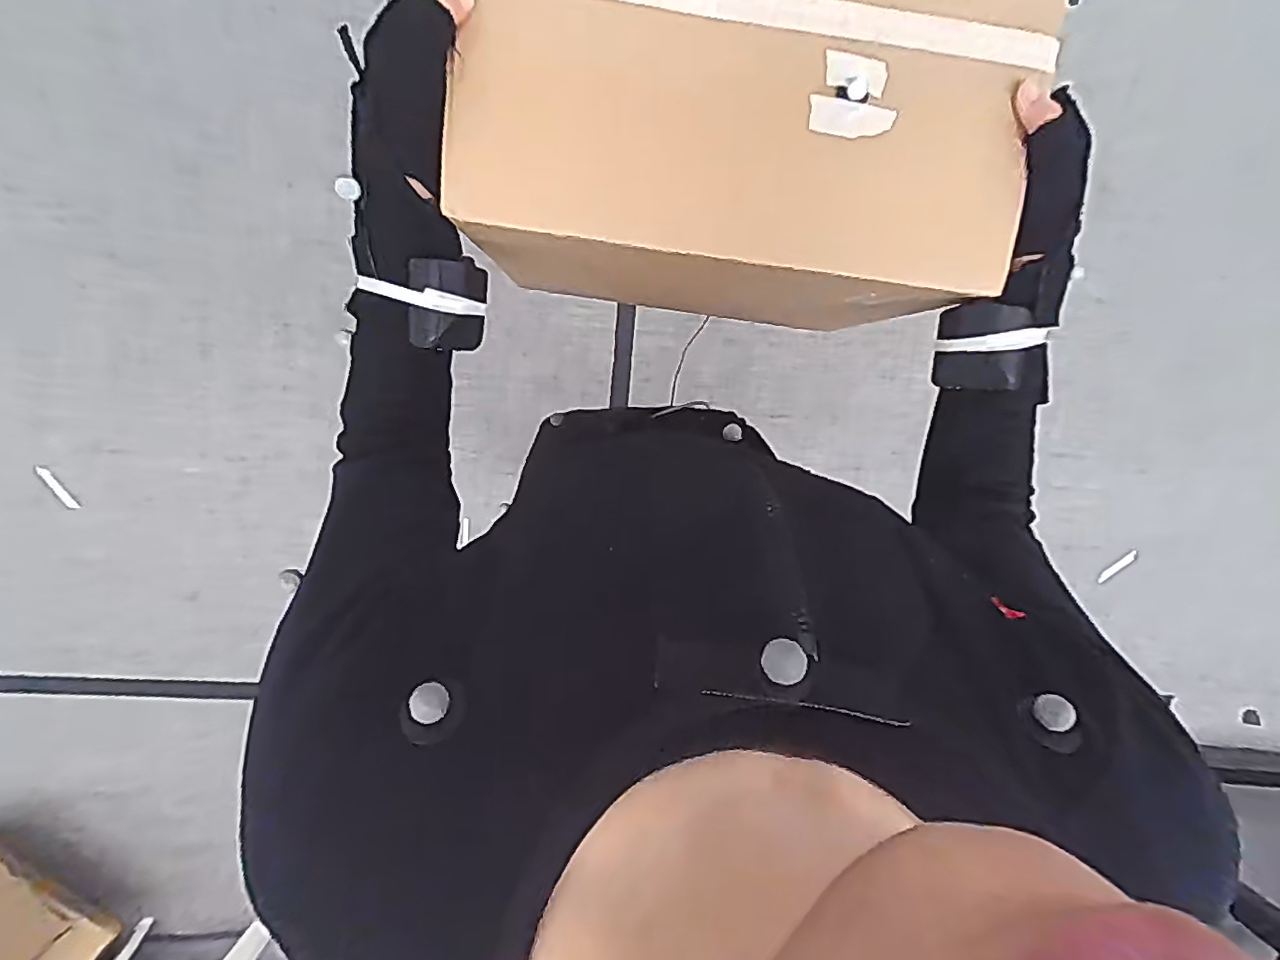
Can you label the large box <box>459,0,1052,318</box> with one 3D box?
[{"bbox_3d":[0.073,-0.346,0.511,0.408,0.320,0.320,6,102,-5],"label":"large box"}]
